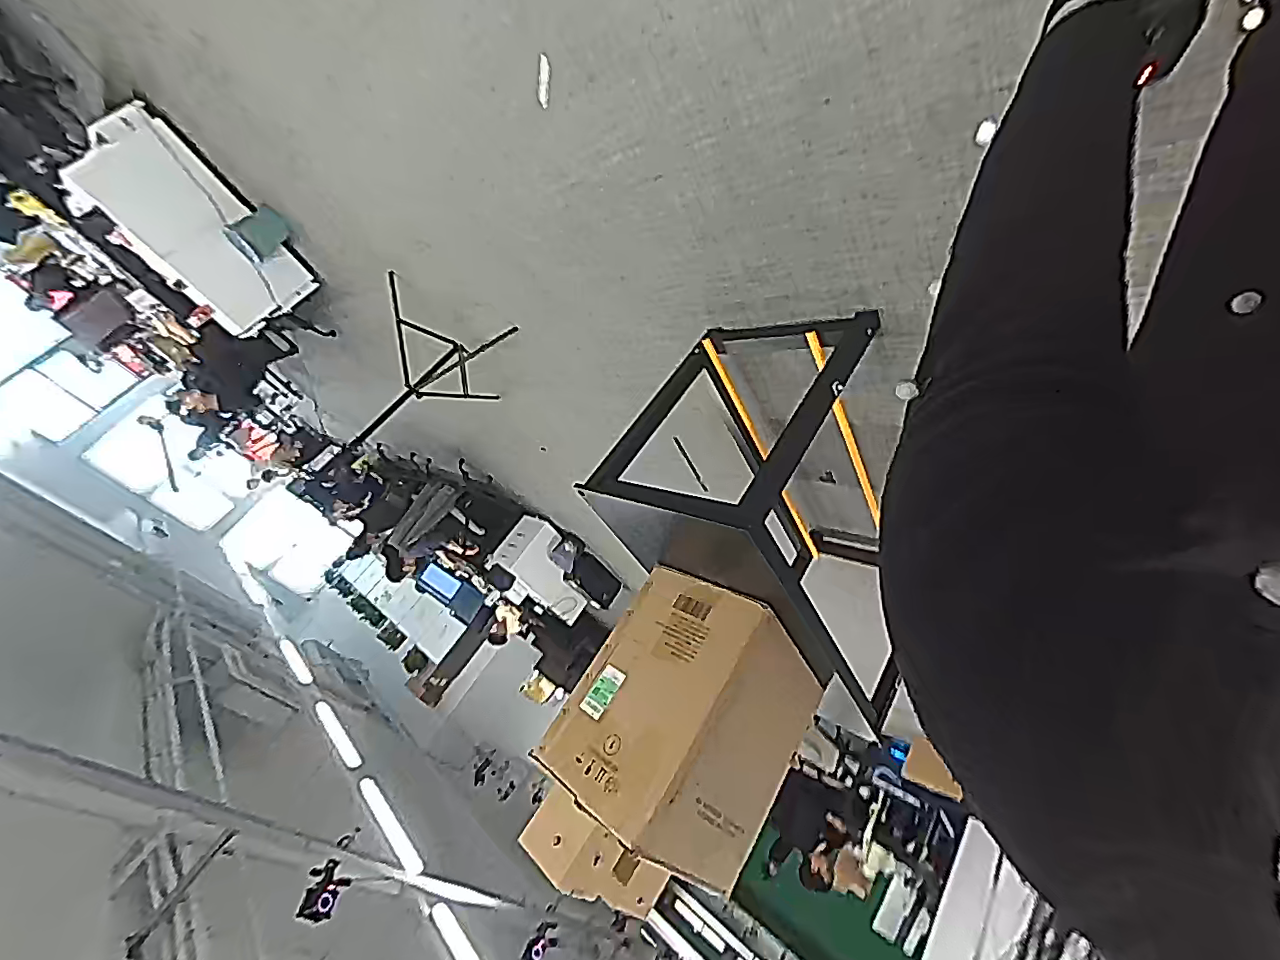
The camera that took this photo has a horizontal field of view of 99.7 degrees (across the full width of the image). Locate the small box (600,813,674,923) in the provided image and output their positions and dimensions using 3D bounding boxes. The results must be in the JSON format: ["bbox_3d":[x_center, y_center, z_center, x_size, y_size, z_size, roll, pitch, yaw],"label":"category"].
[{"bbox_3d":[-0.033,1.076,1.507,0.168,0.176,0.179,13,146,47],"label":"small box"}]

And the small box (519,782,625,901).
[{"bbox_3d":[-0.161,0.904,1.361,0.179,0.176,0.168,14,149,46],"label":"small box"}]
